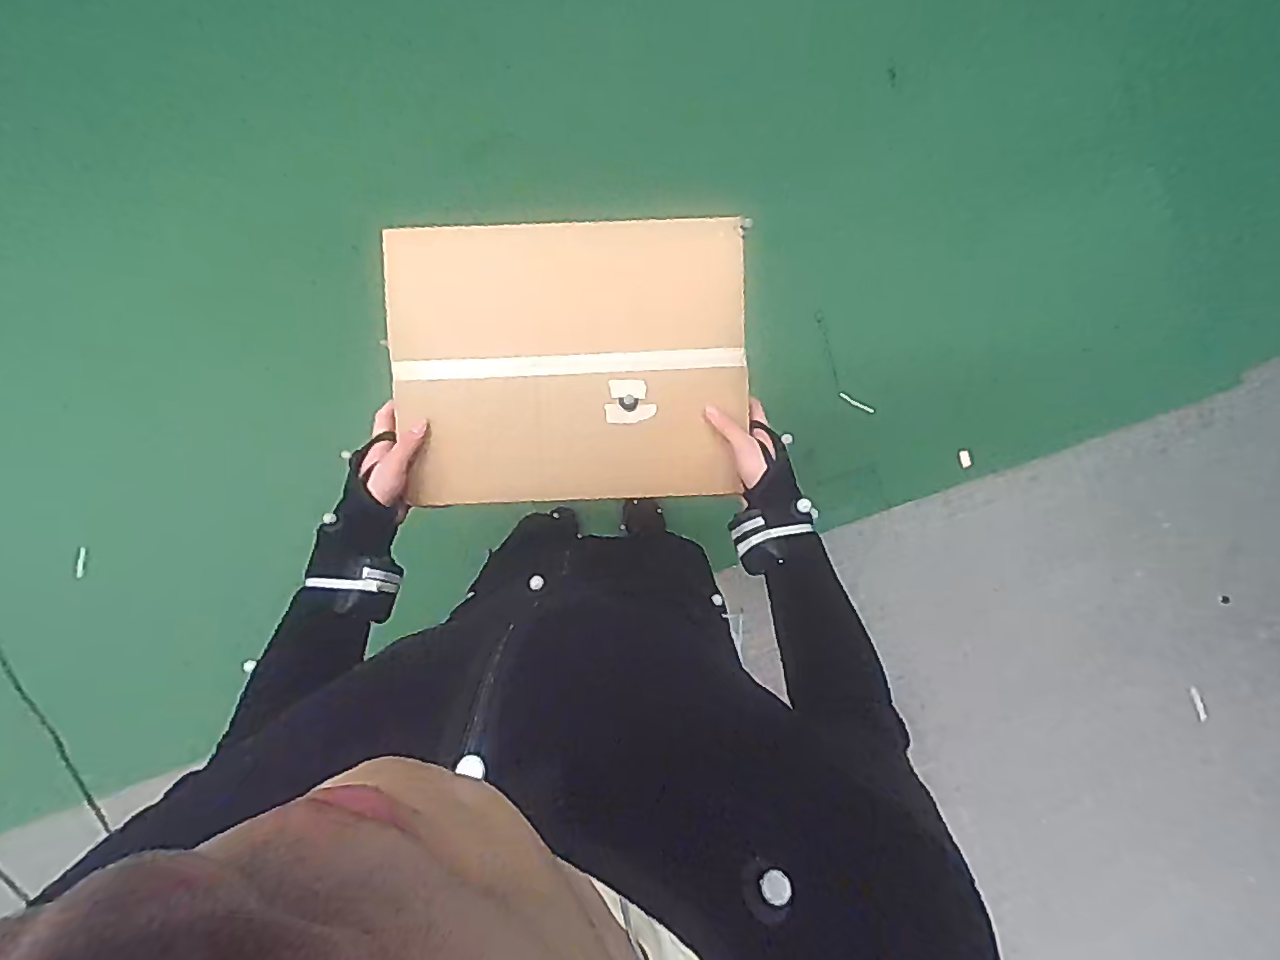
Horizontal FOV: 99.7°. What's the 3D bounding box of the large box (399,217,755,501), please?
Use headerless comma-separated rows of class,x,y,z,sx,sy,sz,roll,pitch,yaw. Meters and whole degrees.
large box,-0.073,-0.150,0.775,0.408,0.320,0.320,-2,96,-1
